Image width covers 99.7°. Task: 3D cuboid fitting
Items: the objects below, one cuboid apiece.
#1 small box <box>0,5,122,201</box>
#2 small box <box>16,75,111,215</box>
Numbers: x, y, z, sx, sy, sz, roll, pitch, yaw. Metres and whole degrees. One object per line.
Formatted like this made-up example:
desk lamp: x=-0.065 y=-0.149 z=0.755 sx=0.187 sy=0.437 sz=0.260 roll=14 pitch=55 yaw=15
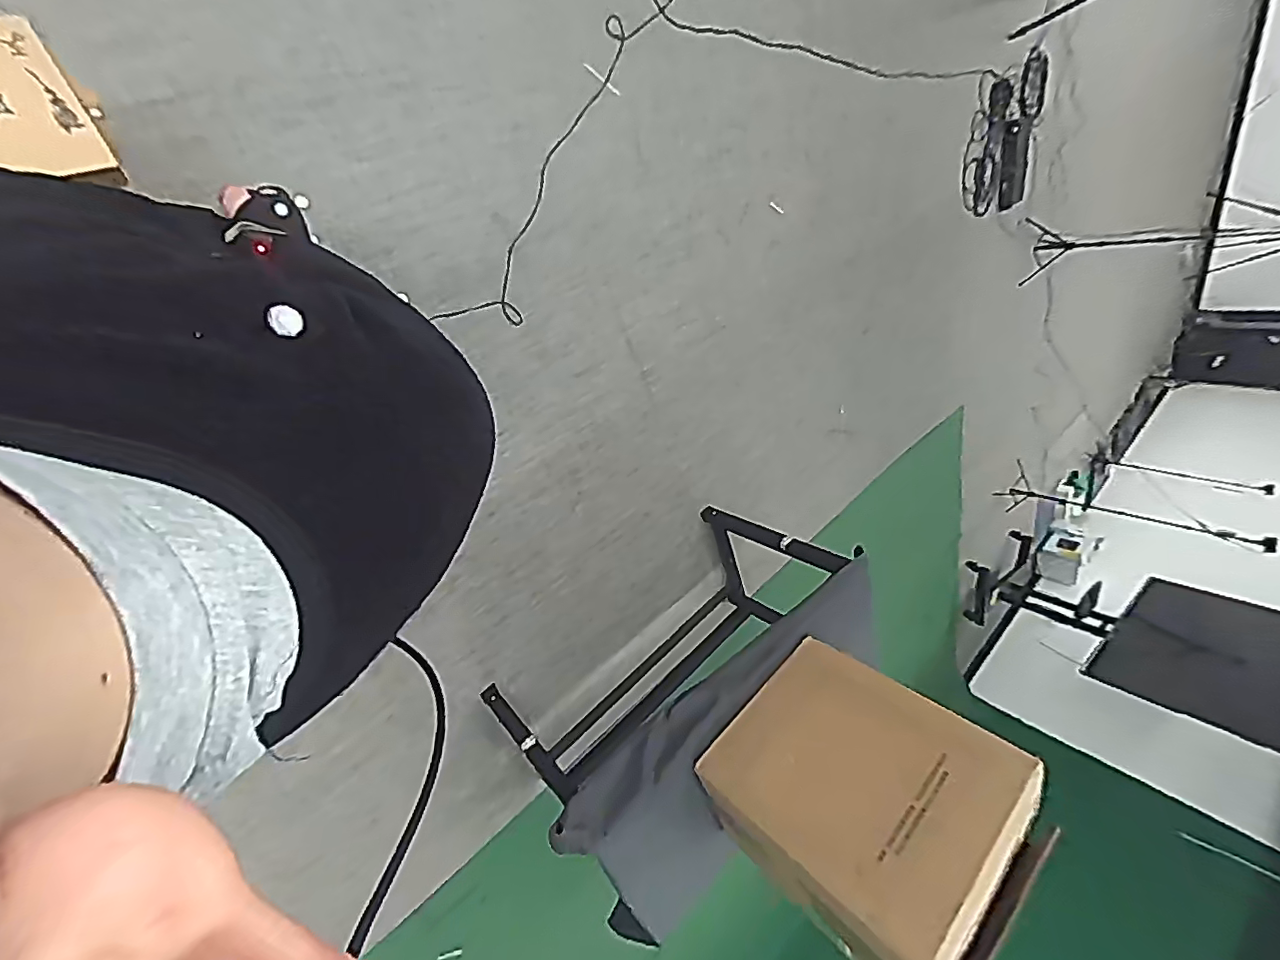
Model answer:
small box: x=-0.832 y=-0.474 z=0.699 sx=0.179 sy=0.176 sz=0.168 roll=-31 pitch=123 yaw=-26
small box: x=-0.932 y=-0.520 z=0.820 sx=0.168 sy=0.176 sz=0.179 roll=-3 pitch=109 yaw=-38
